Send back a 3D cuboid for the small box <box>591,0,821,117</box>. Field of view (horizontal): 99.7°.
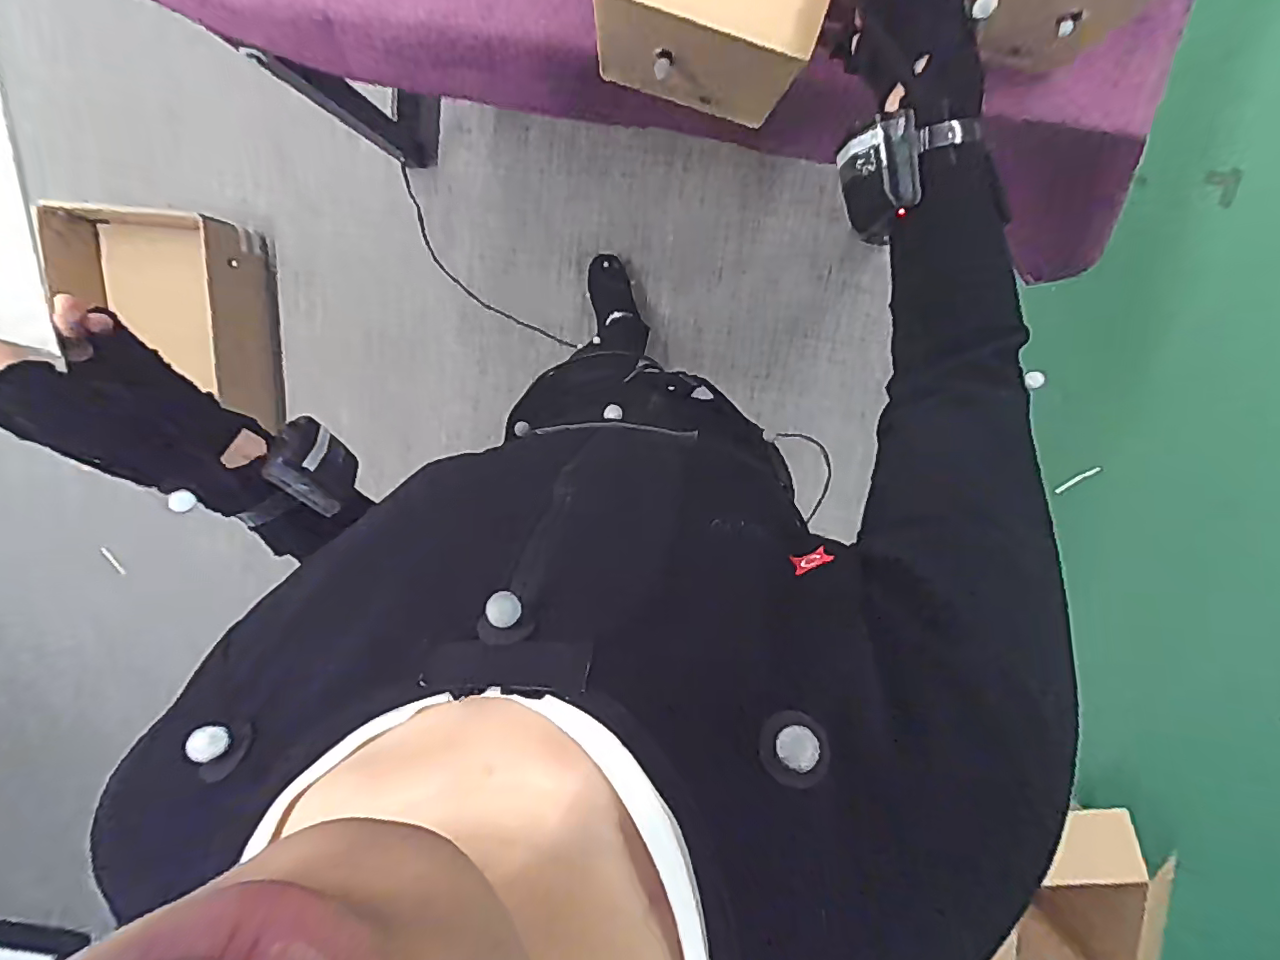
[{"bbox_3d":[0.064,-0.432,0.436,0.168,0.176,0.179,14,106,-6],"label":"small box"}]
